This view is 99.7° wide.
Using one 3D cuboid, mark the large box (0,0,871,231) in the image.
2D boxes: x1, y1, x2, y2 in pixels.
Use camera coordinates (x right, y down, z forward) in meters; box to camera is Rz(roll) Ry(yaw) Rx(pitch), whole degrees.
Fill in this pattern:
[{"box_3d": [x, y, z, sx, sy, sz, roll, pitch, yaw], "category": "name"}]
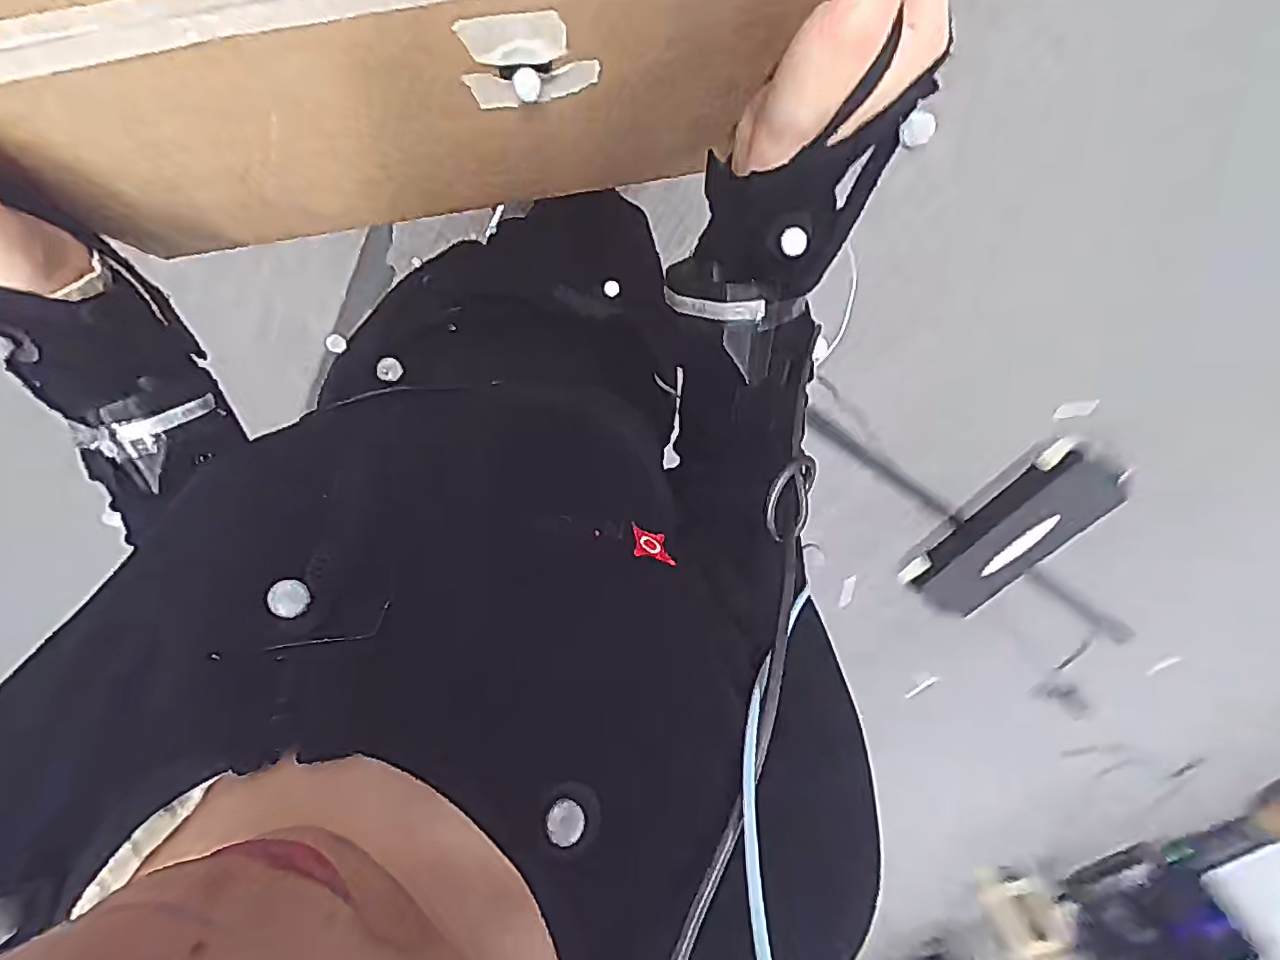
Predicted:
[{"box_3d": [-0.122, -0.329, 0.172, 0.408, 0.320, 0.320, -8, 90, 3], "category": "large box"}]
